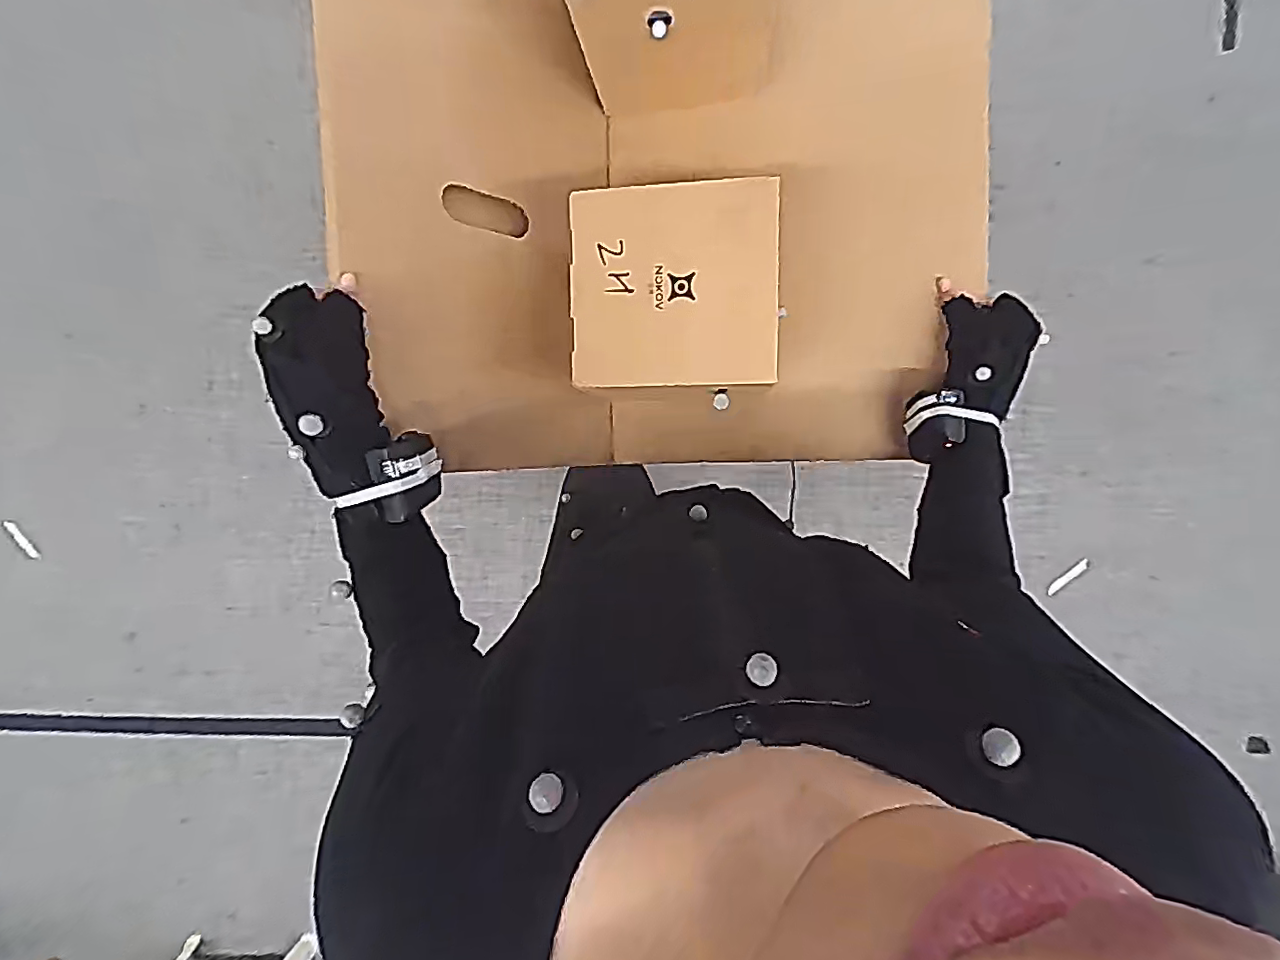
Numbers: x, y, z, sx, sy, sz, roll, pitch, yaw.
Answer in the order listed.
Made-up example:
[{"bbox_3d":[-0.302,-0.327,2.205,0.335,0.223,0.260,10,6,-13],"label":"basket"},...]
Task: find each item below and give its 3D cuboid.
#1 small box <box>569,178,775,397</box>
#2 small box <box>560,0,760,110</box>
[{"bbox_3d":[0.035,-0.173,0.538,0.179,0.176,0.168,1,94,9],"label":"small box"},{"bbox_3d":[0.025,-0.493,0.521,0.179,0.176,0.168,-2,93,8],"label":"small box"}]
